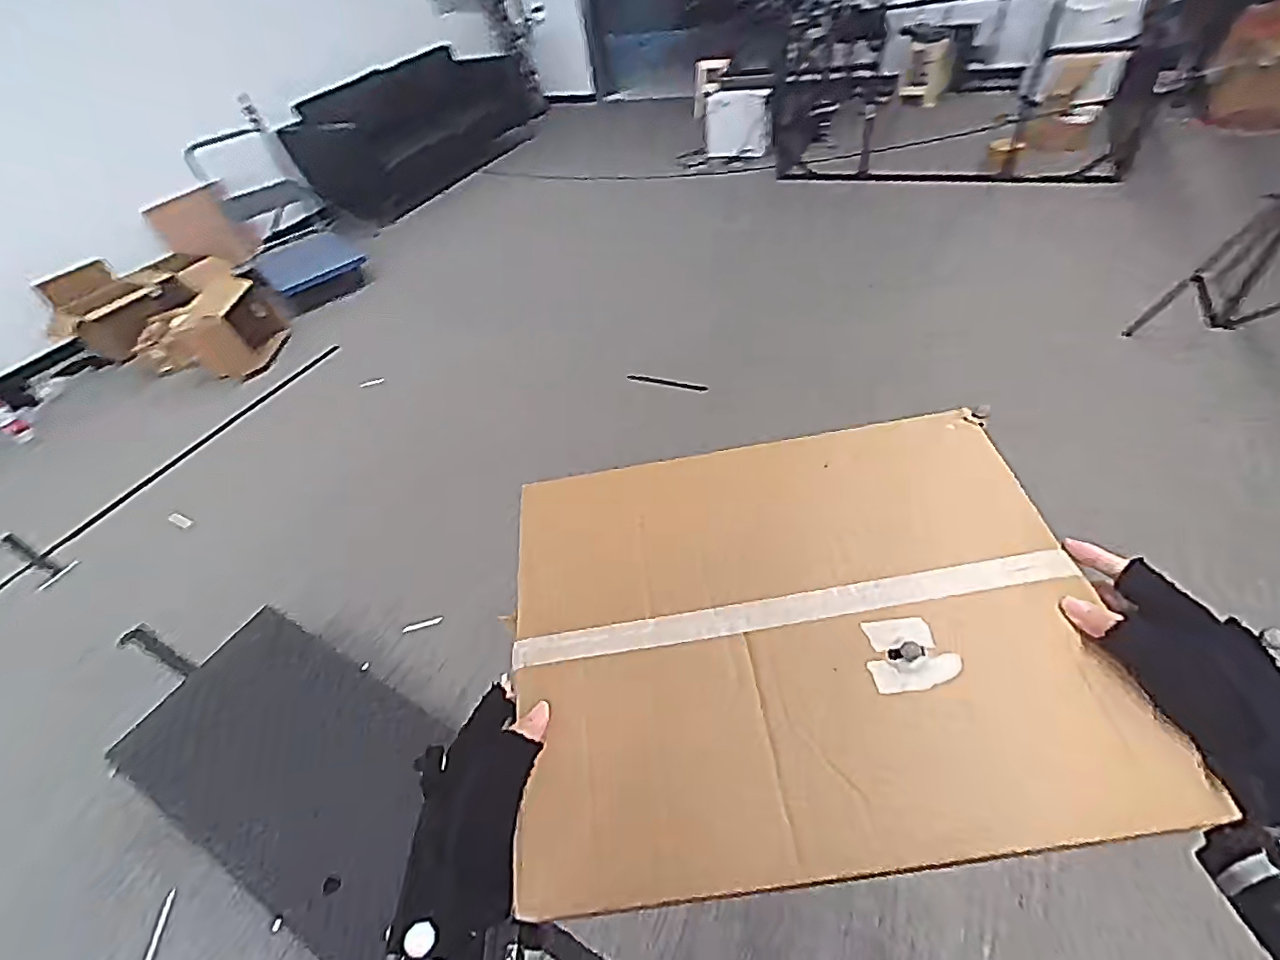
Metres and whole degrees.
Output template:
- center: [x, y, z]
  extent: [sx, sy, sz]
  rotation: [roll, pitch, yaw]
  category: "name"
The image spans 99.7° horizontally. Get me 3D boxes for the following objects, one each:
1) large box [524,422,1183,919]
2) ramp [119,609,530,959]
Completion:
- center: [0.125, 0.191, 0.528]
  extent: [0.408, 0.320, 0.320]
  rotation: [-11, 54, 1]
  category: "large box"
- center: [-0.796, 0.749, 1.383]
  extent: [0.991, 0.206, 0.509]
  rotation: [16, 51, 24]
  category: "ramp"
